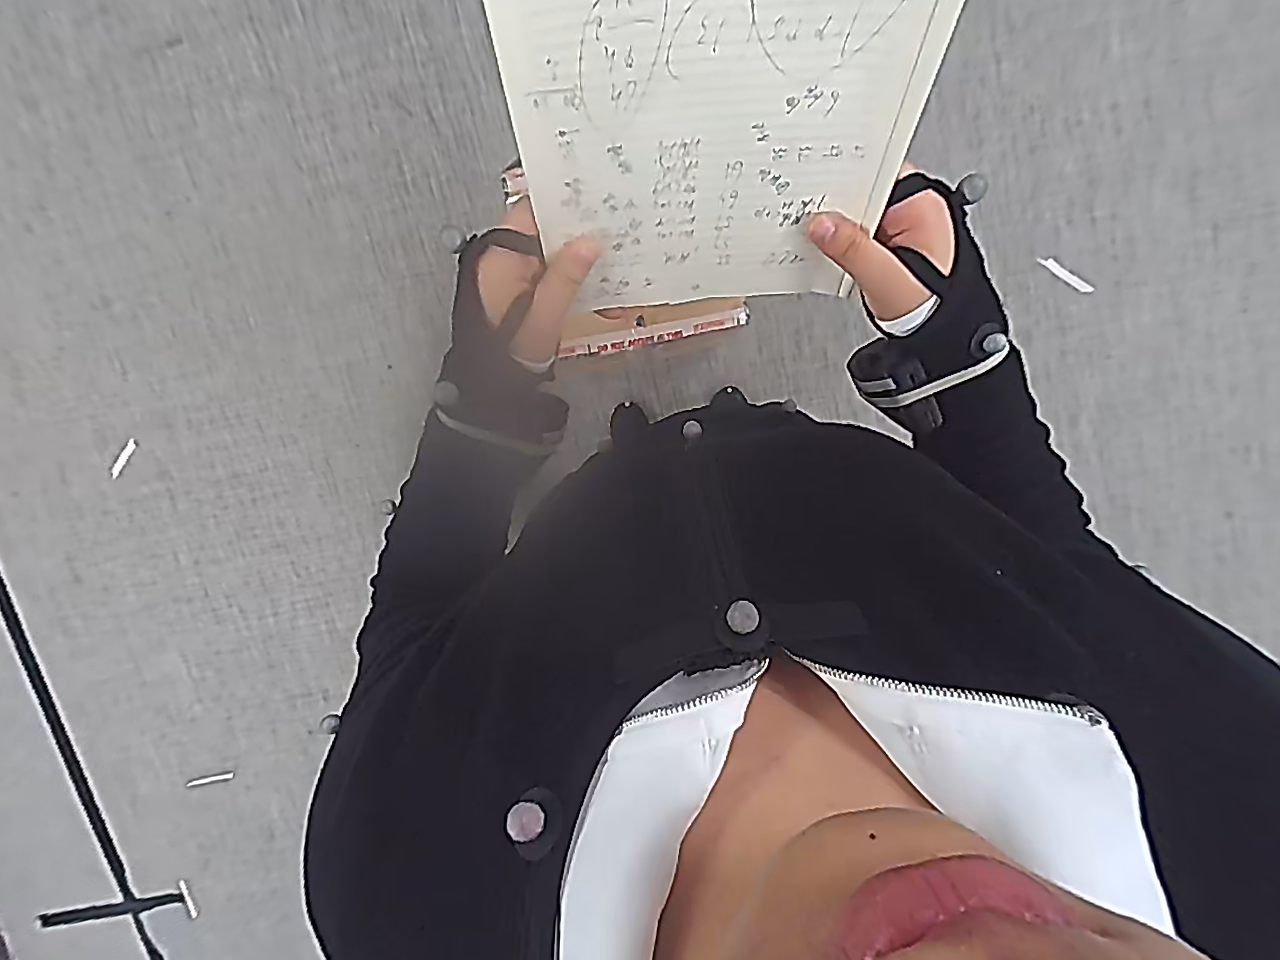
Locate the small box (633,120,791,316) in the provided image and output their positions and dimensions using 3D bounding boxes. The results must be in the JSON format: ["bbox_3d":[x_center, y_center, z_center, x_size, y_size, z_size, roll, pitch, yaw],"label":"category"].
[{"bbox_3d":[0.084,-0.329,0.714,0.168,0.176,0.179,-11,100,1],"label":"small box"}]

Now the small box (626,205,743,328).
[{"bbox_3d":[0.080,-0.355,0.877,0.179,0.176,0.168,-15,99,3],"label":"small box"}]
